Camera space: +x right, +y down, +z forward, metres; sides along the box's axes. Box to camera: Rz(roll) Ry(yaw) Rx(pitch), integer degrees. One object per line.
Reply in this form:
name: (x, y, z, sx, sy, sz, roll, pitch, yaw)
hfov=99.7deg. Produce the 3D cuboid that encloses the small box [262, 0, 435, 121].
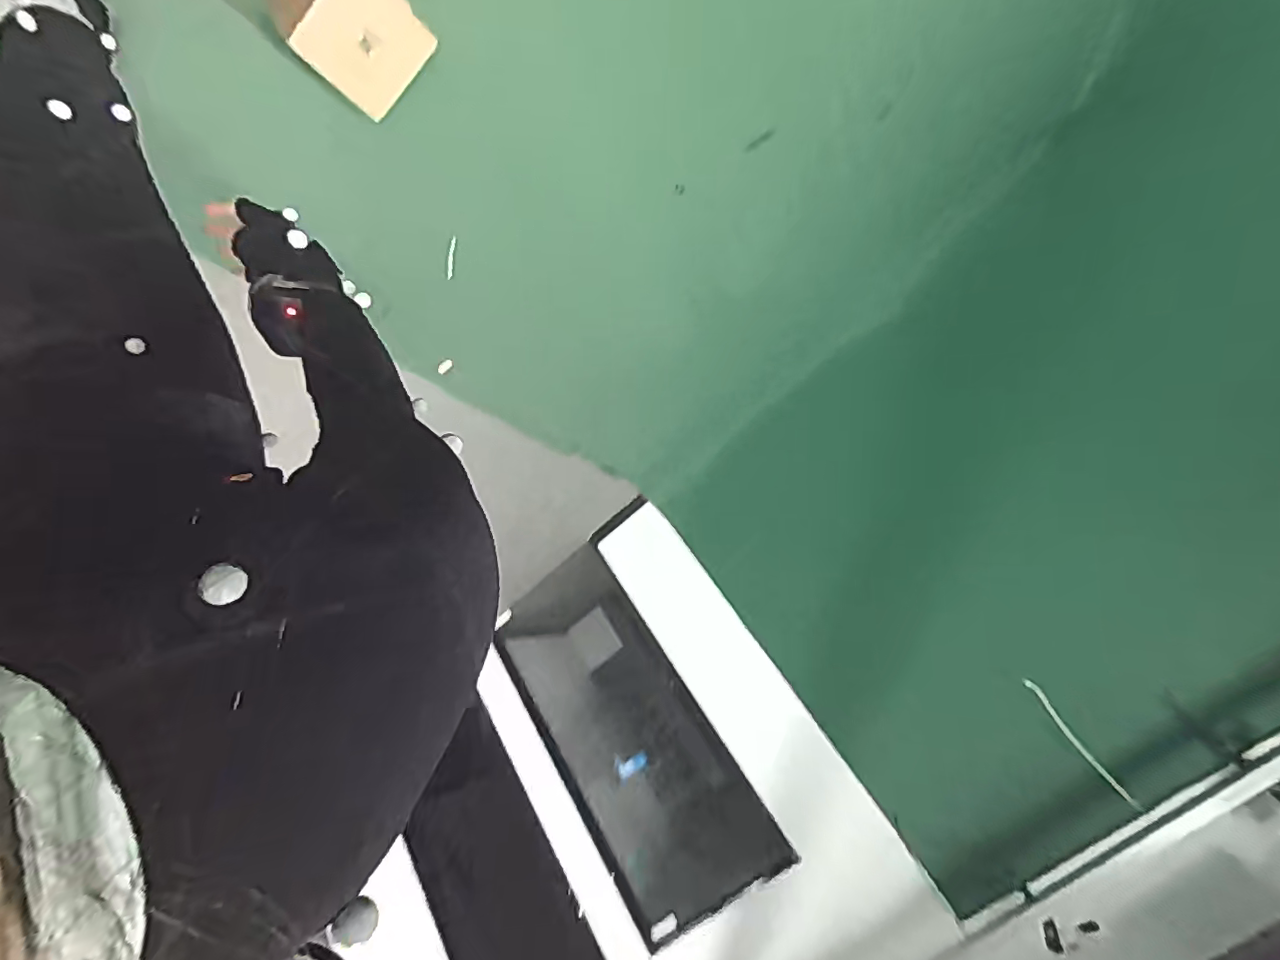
small box: (-0.490, -0.769, 0.906, 0.179, 0.176, 0.168, -42, 156, 12)
